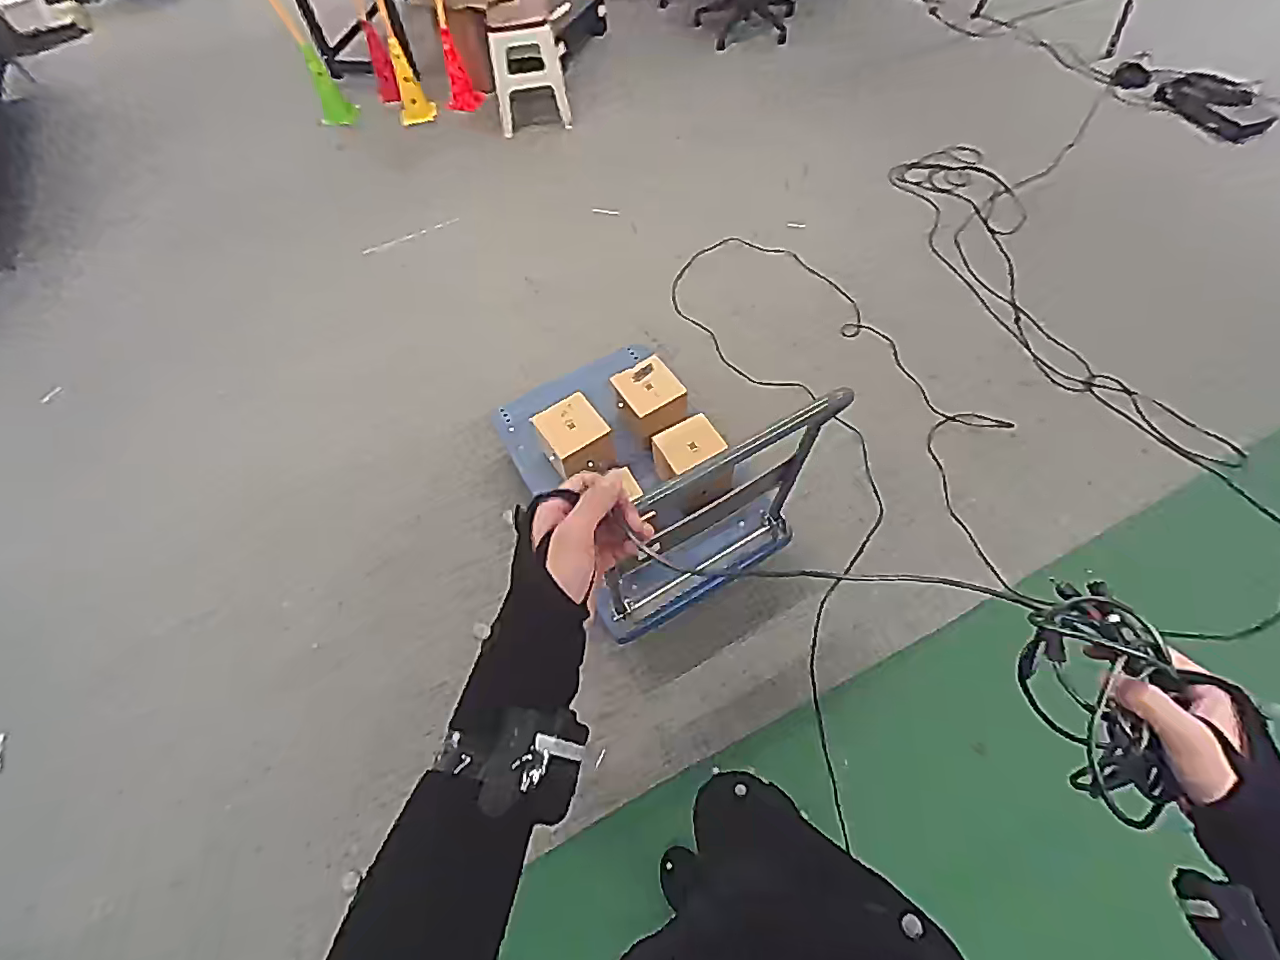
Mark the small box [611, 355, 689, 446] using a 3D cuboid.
[{"bbox_3d":[0.030,-0.237,1.633,0.168,0.176,0.179,-30,64,-12],"label":"small box"}]

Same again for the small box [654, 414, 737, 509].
[{"bbox_3d":[0.150,-0.048,1.521,0.168,0.176,0.179,-27,63,-11],"label":"small box"}]

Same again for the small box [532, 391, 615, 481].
[{"bbox_3d":[-0.188,-0.118,1.580,0.168,0.176,0.179,-32,63,-14],"label":"small box"}]
